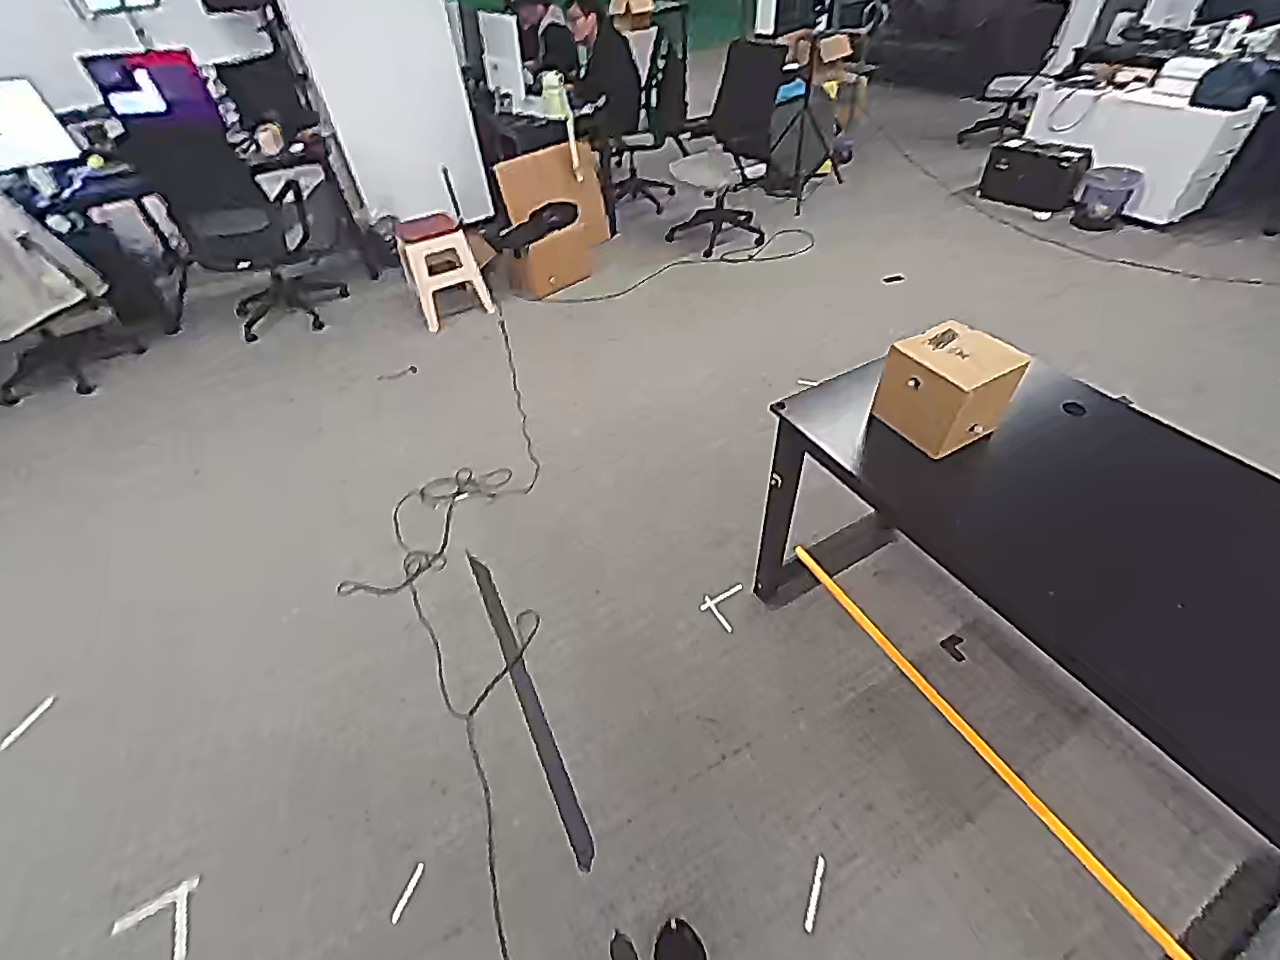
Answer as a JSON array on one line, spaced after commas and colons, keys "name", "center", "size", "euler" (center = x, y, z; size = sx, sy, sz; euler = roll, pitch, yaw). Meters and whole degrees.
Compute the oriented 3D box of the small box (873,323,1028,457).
[{"name": "small box", "center": [0.592, -0.175, 1.060], "size": [0.168, 0.176, 0.179], "euler": [-24, 50, -17]}]
